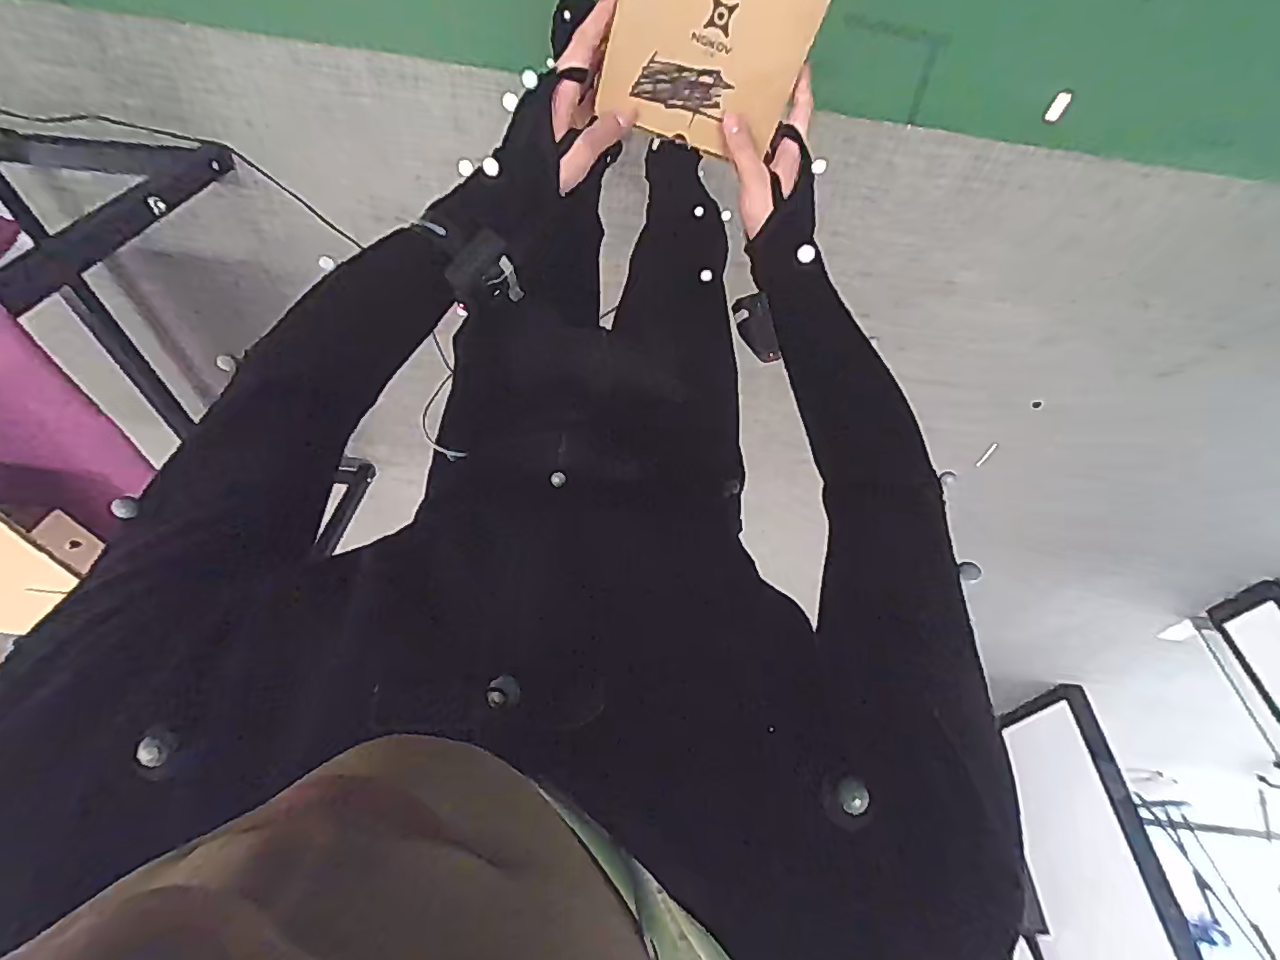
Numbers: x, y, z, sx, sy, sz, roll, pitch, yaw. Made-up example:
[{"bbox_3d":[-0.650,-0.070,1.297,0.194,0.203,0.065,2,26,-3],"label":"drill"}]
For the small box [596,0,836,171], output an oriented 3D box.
[{"bbox_3d":[0.061,-0.425,0.495,0.168,0.176,0.179,11,134,-15],"label":"small box"}]
